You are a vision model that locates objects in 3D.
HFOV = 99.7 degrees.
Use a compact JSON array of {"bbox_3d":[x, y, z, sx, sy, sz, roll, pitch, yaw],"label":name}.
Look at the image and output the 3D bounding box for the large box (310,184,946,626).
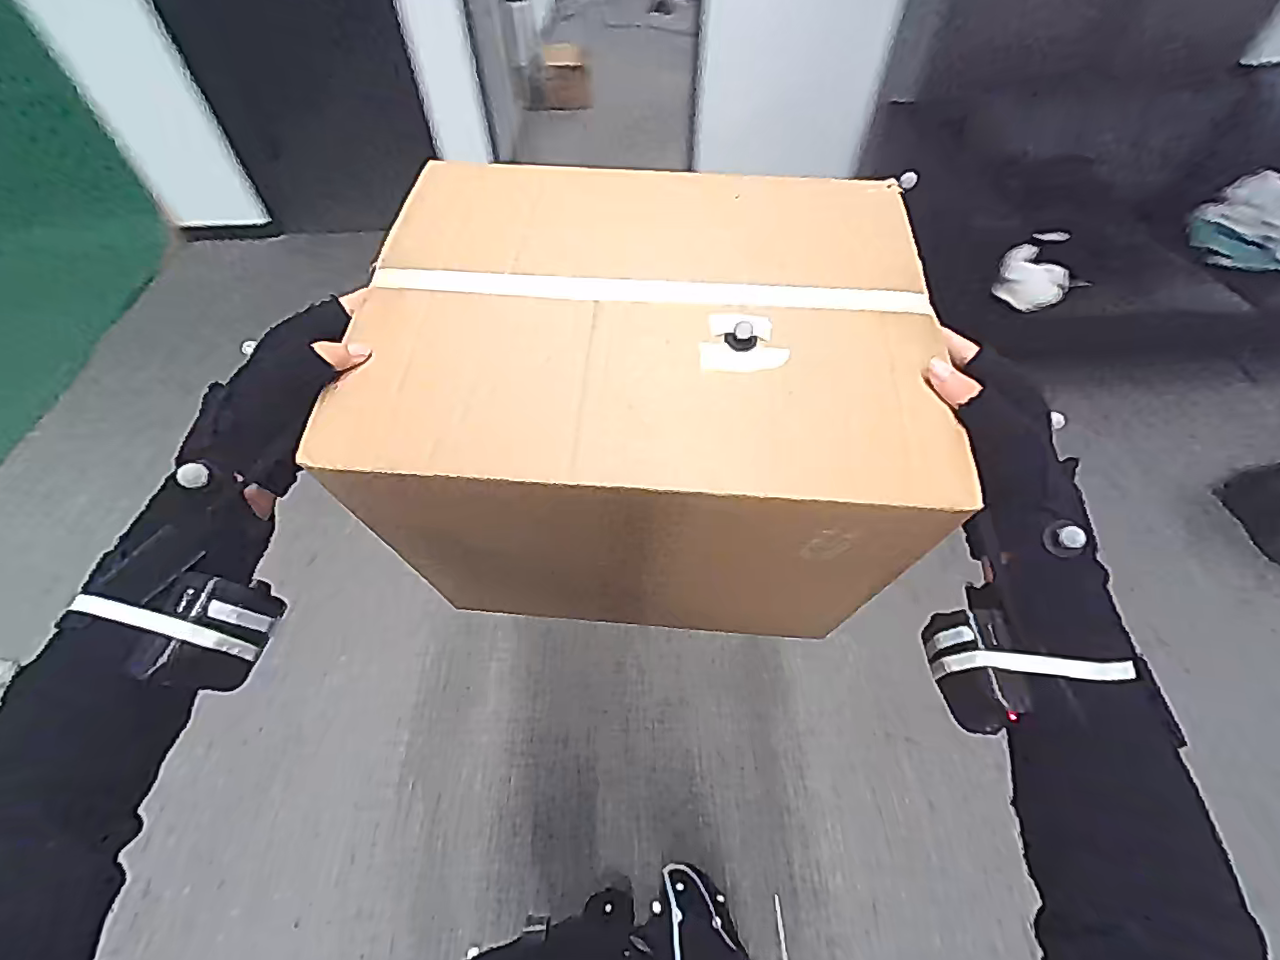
[{"bbox_3d":[-0.006,-0.053,0.534,0.408,0.320,0.320,3,61,1],"label":"large box"}]
